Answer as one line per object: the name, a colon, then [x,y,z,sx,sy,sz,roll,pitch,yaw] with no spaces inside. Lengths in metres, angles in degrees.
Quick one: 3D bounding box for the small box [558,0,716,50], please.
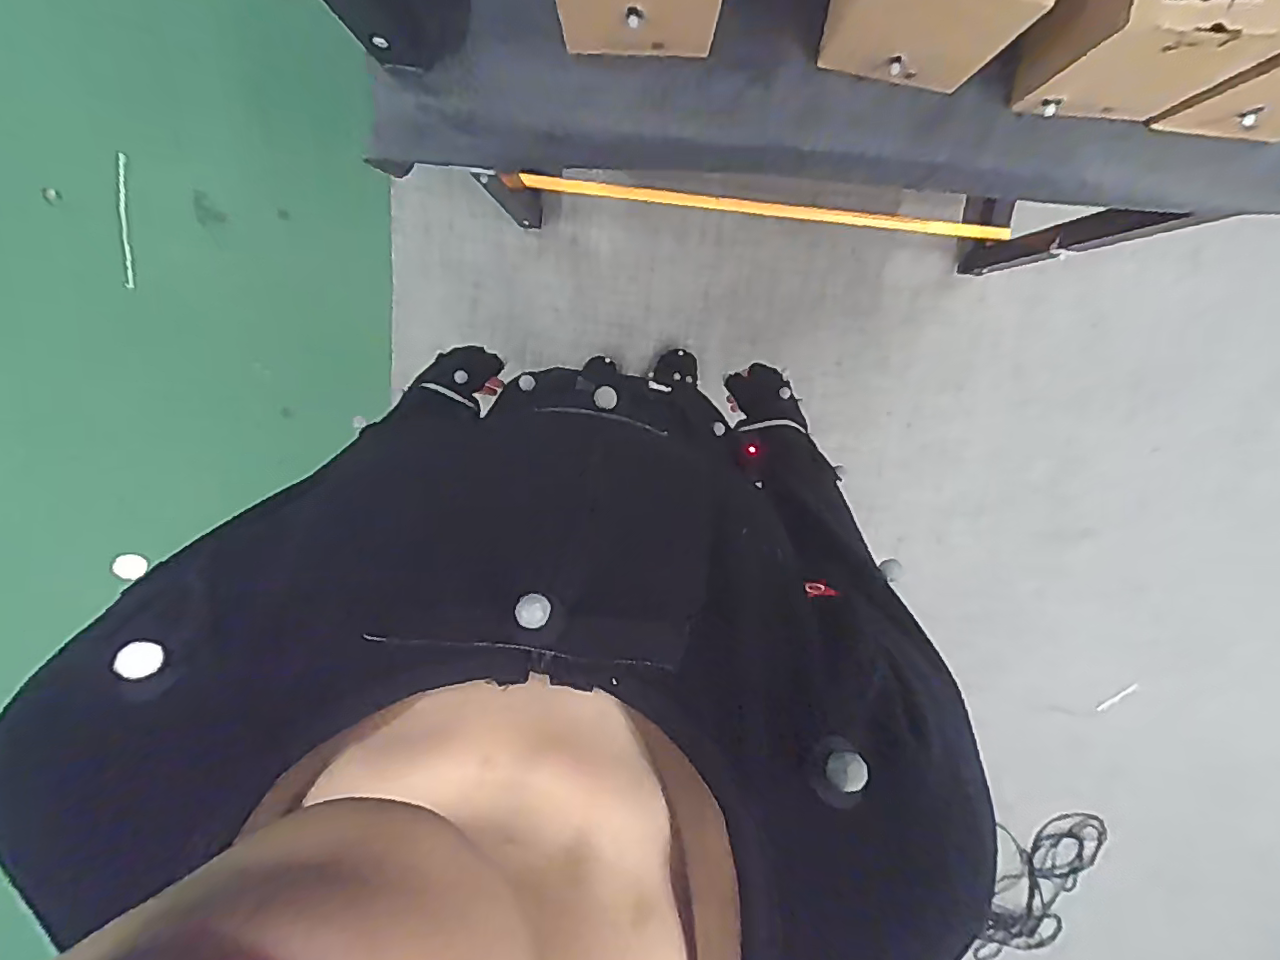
small box: [-0.001,-0.559,0.525,0.168,0.176,0.179,1,102,-1]
